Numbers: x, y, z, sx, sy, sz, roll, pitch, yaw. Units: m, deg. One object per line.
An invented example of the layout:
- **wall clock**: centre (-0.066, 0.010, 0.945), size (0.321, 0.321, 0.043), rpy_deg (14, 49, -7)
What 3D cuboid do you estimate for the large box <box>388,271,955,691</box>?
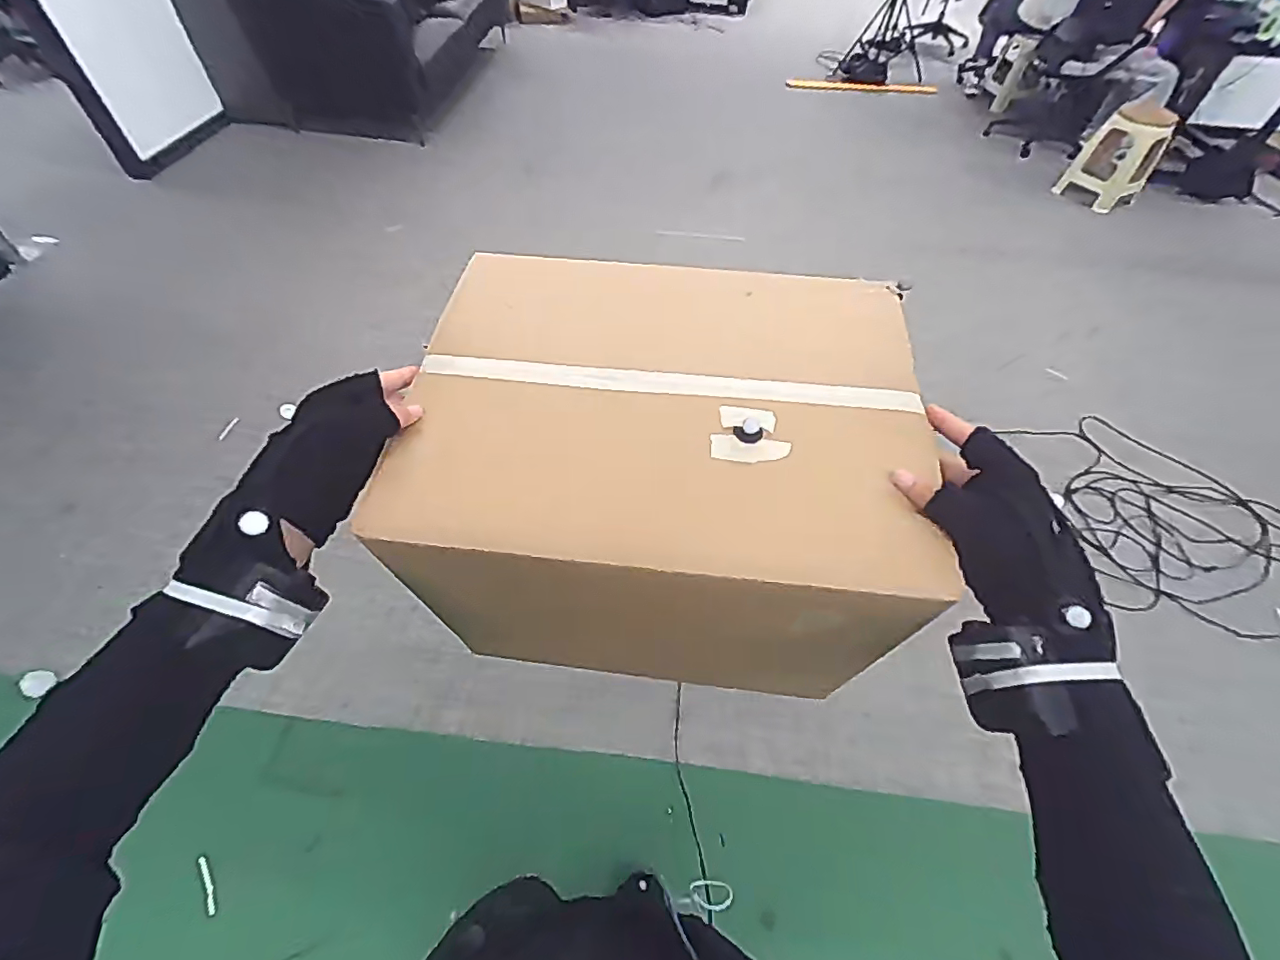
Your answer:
- **large box**: centre (0.029, 0.015, 0.576), size (0.408, 0.320, 0.320), rpy_deg (6, 58, 3)
